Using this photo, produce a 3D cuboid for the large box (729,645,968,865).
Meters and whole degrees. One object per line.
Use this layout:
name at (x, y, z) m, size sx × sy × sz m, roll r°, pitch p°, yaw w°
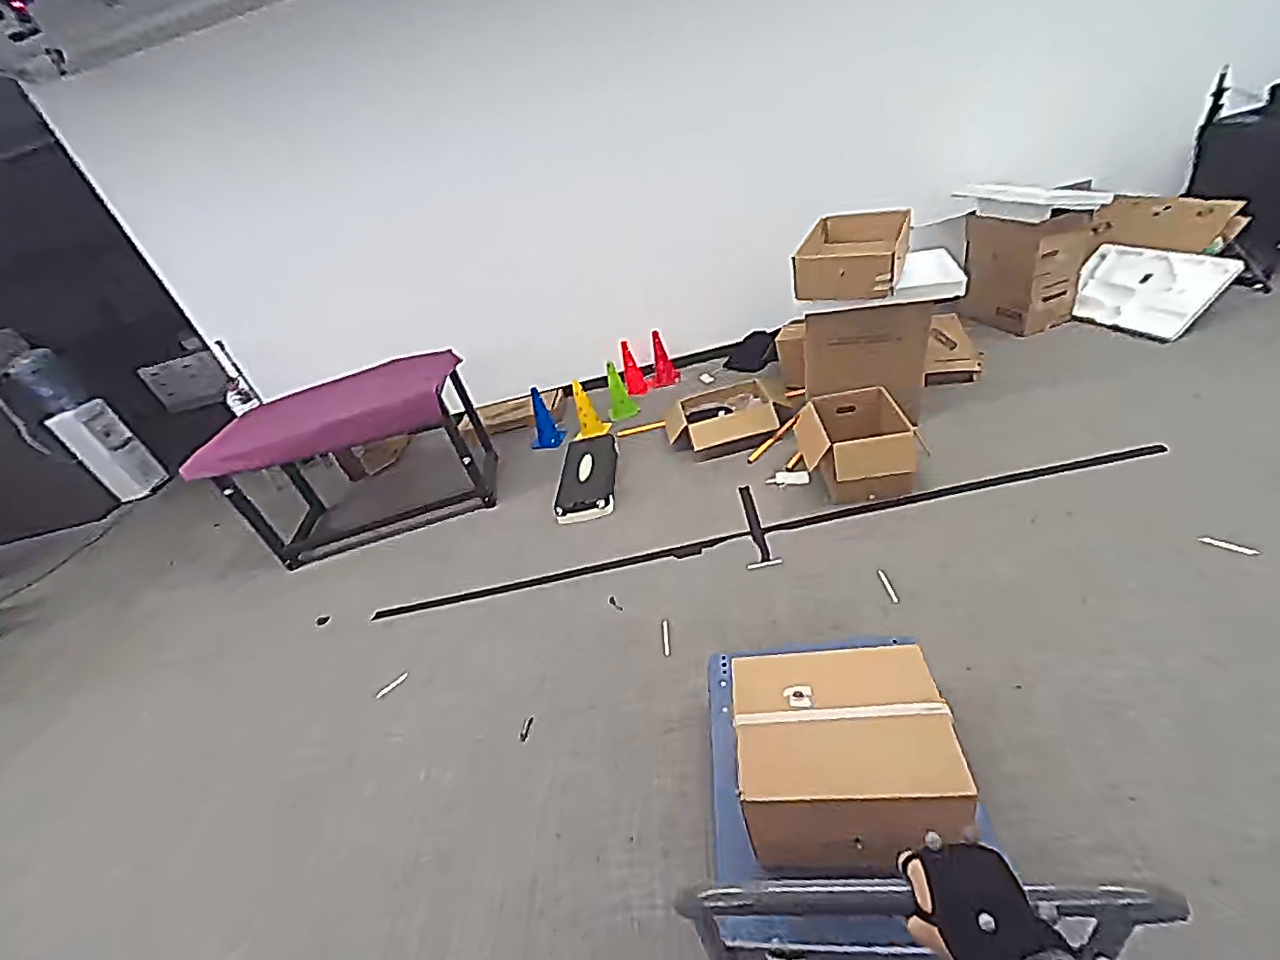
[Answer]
large box at (0.429, 0.601, 1.176) m, size 0.408 × 0.320 × 0.320 m, roll -10°, pitch 33°, yaw 12°
